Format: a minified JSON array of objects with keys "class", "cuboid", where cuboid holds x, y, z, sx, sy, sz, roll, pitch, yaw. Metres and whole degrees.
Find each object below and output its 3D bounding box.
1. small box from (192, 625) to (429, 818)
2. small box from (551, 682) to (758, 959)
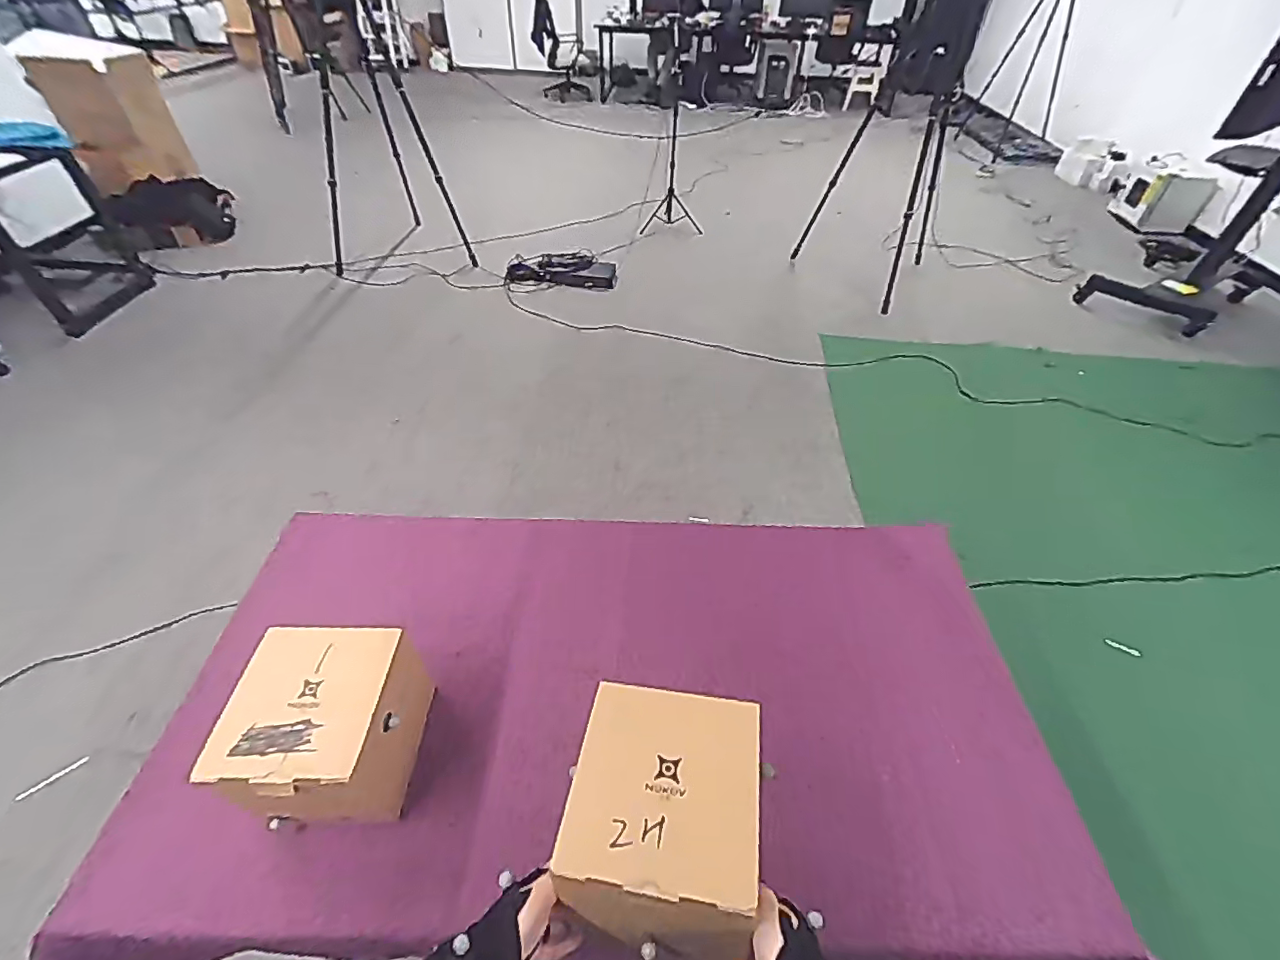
[{"class":"small box","cuboid":[-0.379,0.300,0.667,0.168,0.176,0.179,1,44,-1]},{"class":"small box","cuboid":[0.024,0.334,0.535,0.168,0.176,0.179,4,37,10]}]
